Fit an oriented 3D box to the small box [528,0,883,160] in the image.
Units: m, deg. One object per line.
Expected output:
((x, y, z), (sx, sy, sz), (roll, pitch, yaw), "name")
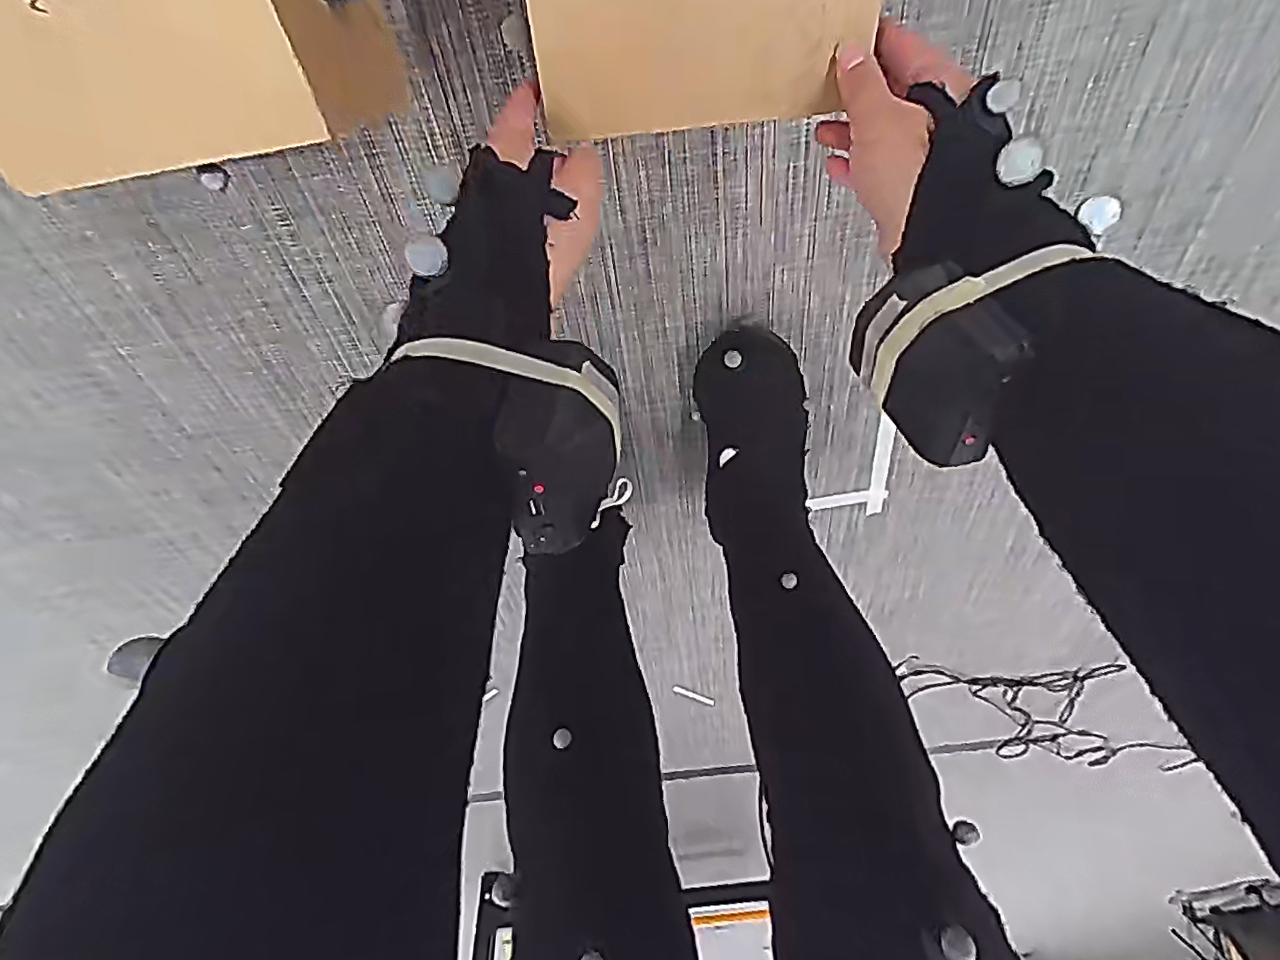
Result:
((0.025, -0.293, 0.287), (0.168, 0.176, 0.179), (-6, 132, 0), "small box")

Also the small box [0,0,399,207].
((-0.252, -0.269, 0.288), (0.179, 0.176, 0.168), (-8, 132, 3), "small box")
